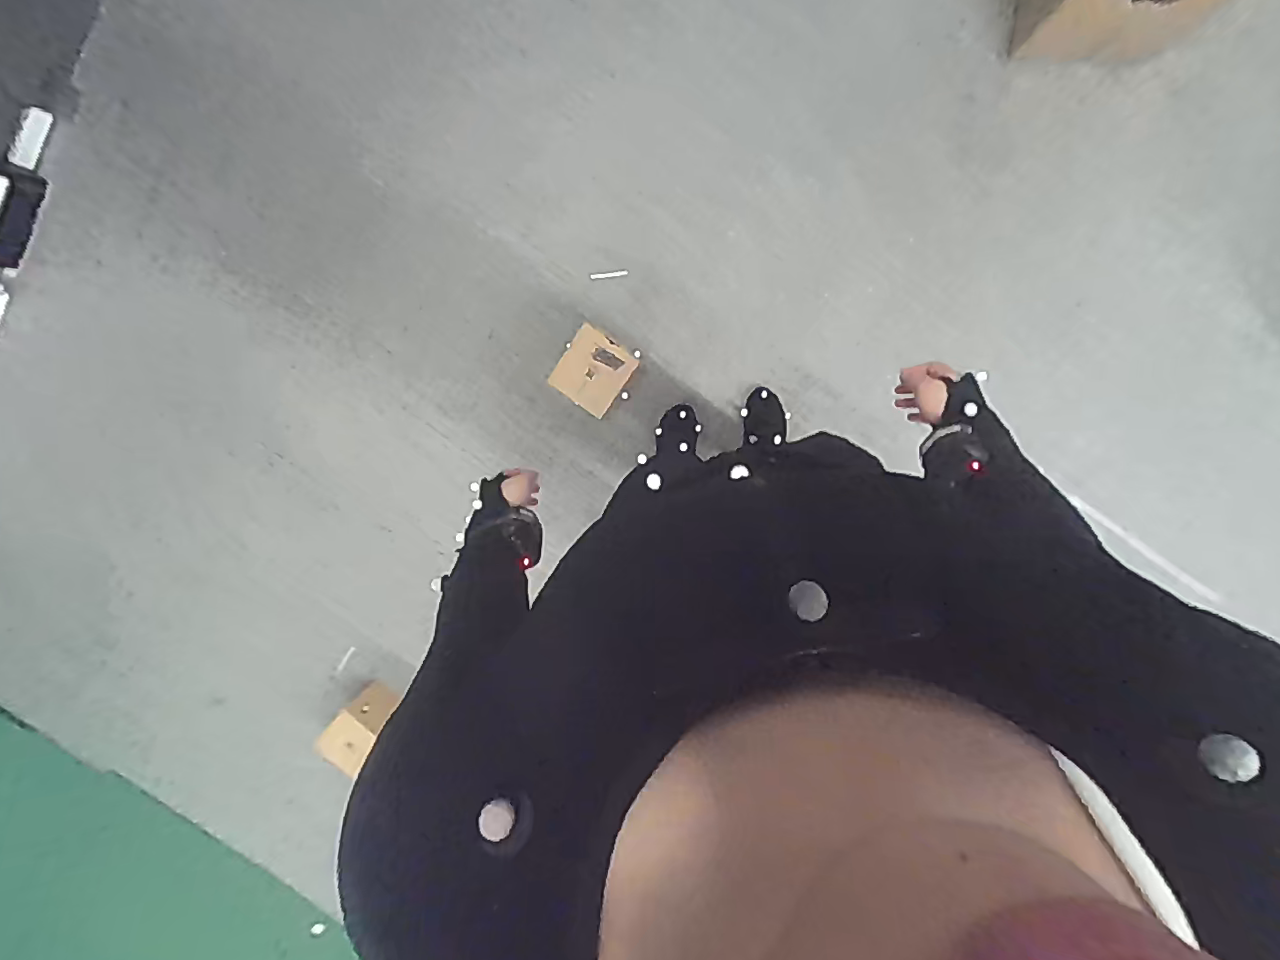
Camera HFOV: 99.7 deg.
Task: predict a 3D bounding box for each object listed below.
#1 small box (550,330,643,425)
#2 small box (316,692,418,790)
[{"bbox_3d":[-0.103,-0.263,1.400,0.168,0.176,0.179,36,101,-1],"label":"small box"},{"bbox_3d":[-0.811,0.770,1.621,0.179,0.176,0.168,40,101,-1],"label":"small box"}]
